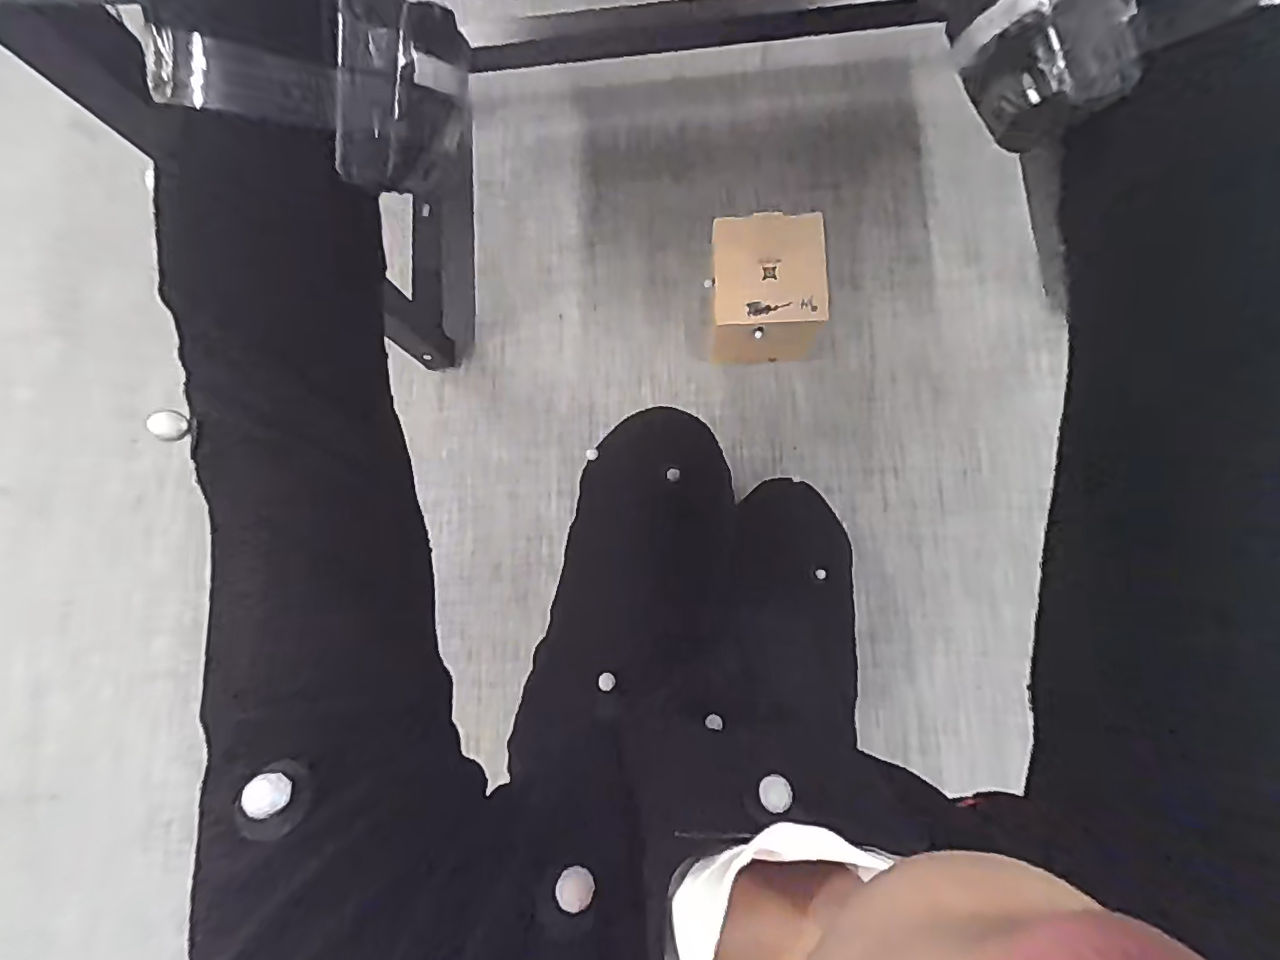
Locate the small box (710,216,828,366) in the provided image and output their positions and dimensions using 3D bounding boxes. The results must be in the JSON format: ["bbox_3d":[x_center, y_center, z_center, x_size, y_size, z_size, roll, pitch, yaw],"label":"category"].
[{"bbox_3d":[0.201,-0.301,0.887,0.168,0.176,0.179,-1,80,6],"label":"small box"}]
